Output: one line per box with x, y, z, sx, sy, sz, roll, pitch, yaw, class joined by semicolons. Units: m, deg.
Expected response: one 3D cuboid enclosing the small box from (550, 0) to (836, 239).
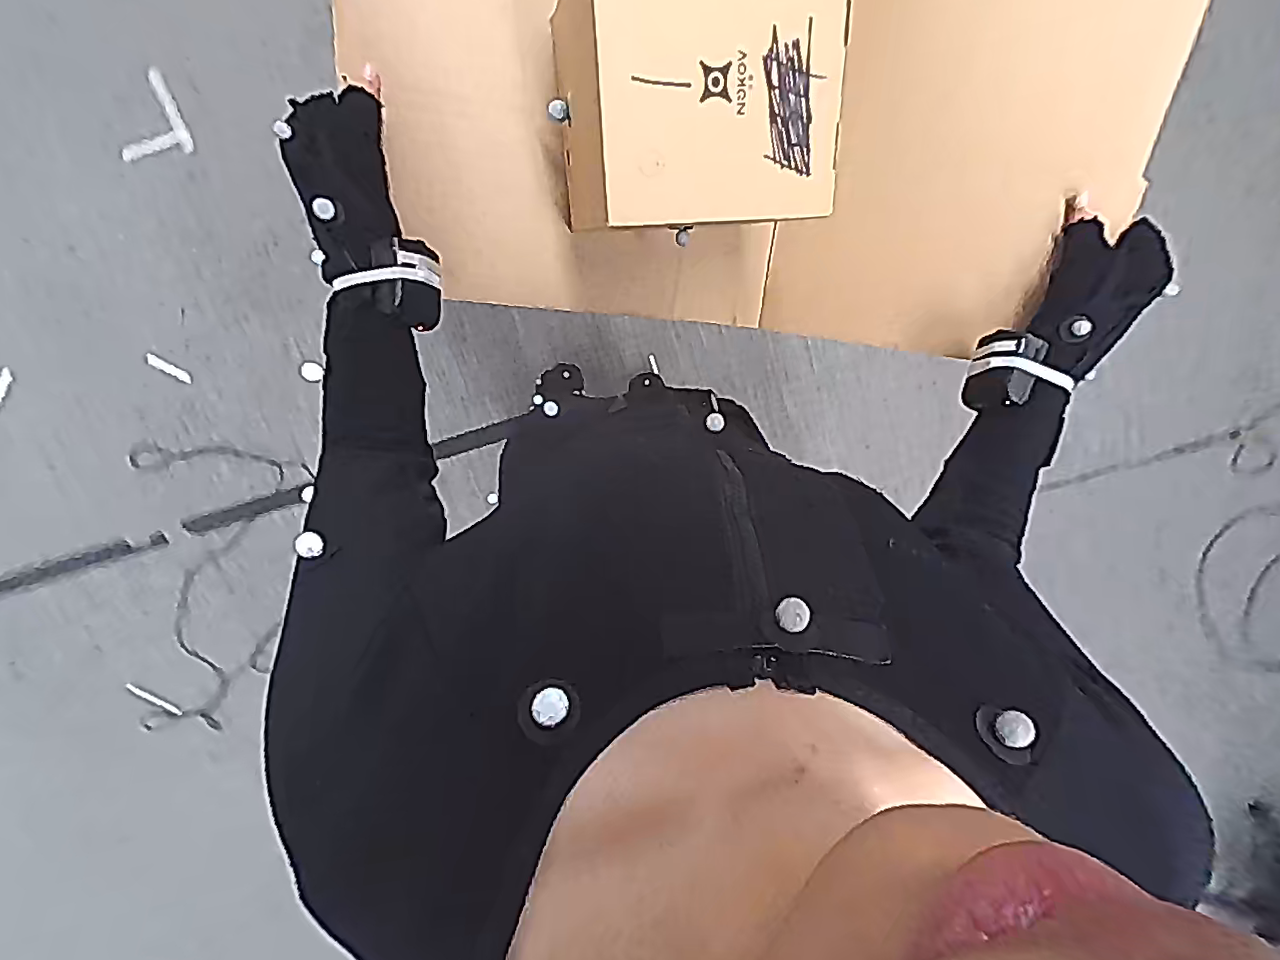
0.031;-0.291;0.439;0.179;0.176;0.168;-10;114;-12;small box
